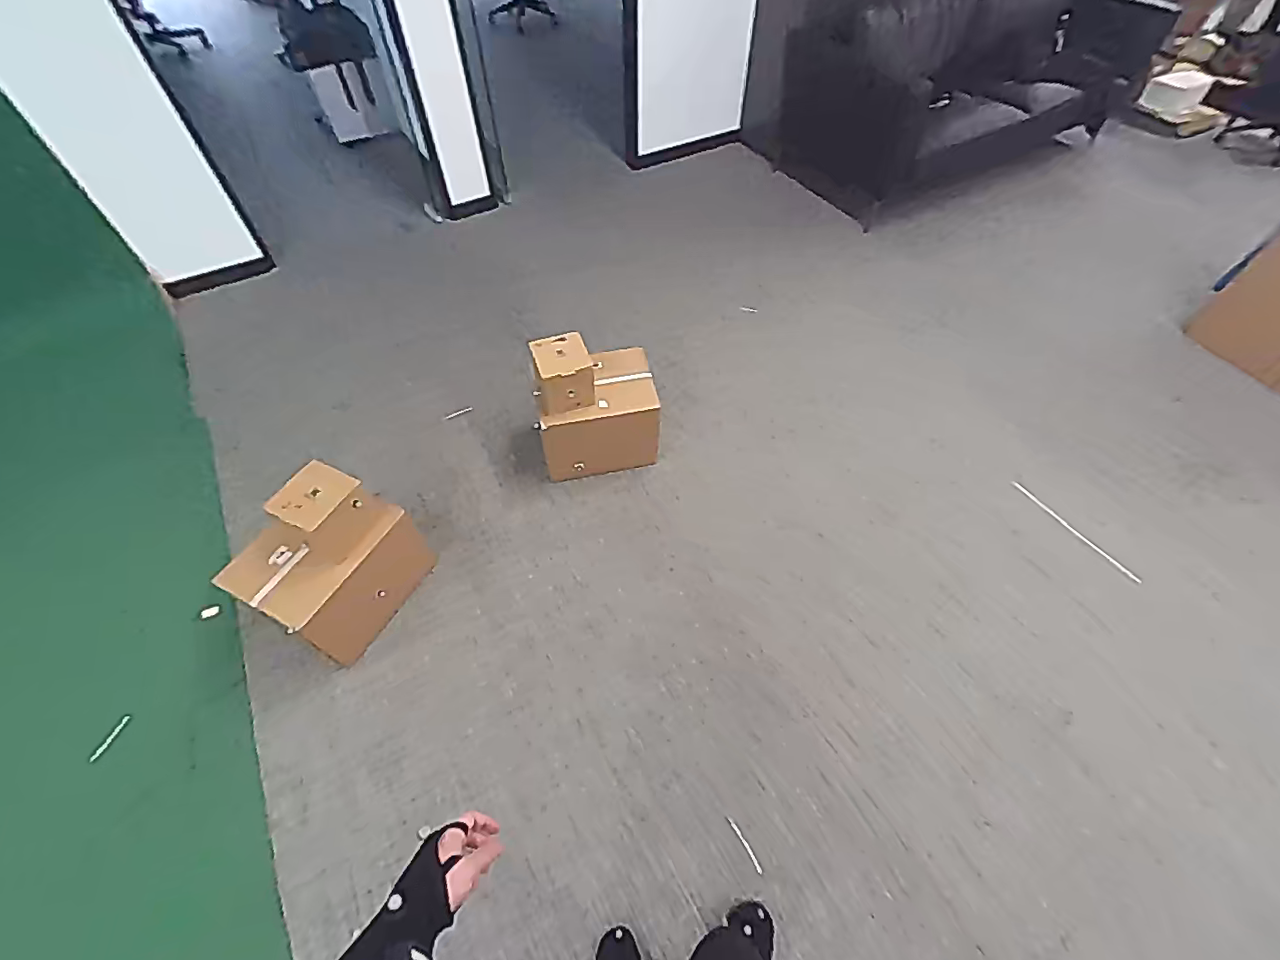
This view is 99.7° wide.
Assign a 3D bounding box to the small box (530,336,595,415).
[{"bbox_3d":[-0.247,-0.330,1.745,0.168,0.176,0.179,-16,57,-13],"label":"small box"}]

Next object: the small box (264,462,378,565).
[{"bbox_3d":[-0.825,0.090,1.427,0.168,0.176,0.179,22,57,14],"label":"small box"}]

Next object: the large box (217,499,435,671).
[{"bbox_3d":[-0.887,0.278,1.596,0.320,0.320,0.408,21,57,16],"label":"large box"}]
